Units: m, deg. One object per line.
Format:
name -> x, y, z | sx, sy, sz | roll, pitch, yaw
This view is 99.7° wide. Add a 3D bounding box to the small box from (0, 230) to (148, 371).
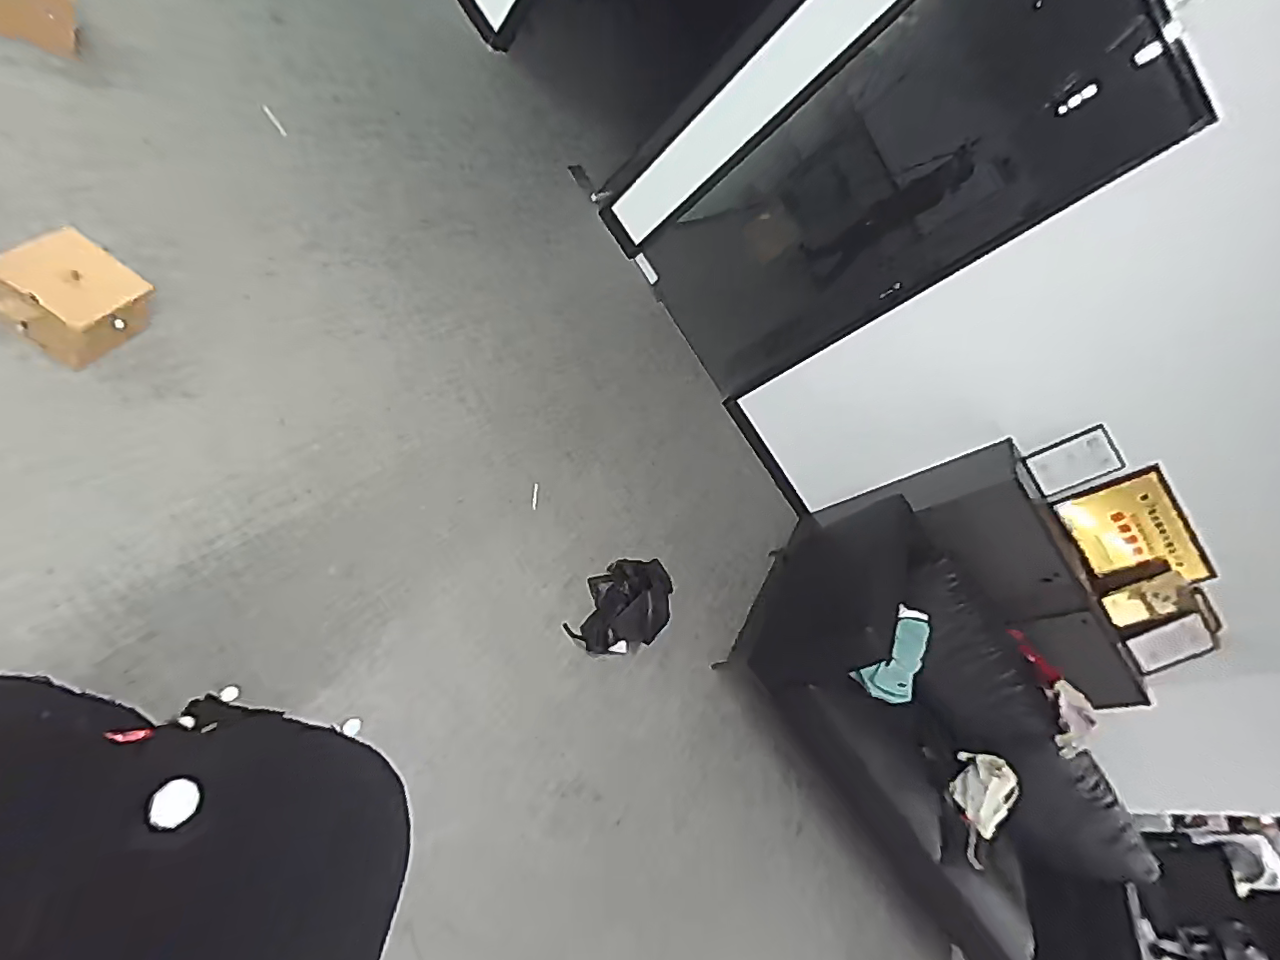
small box -> -1.166, -0.359, 1.098 | 0.168, 0.176, 0.179 | 41, 44, -24
